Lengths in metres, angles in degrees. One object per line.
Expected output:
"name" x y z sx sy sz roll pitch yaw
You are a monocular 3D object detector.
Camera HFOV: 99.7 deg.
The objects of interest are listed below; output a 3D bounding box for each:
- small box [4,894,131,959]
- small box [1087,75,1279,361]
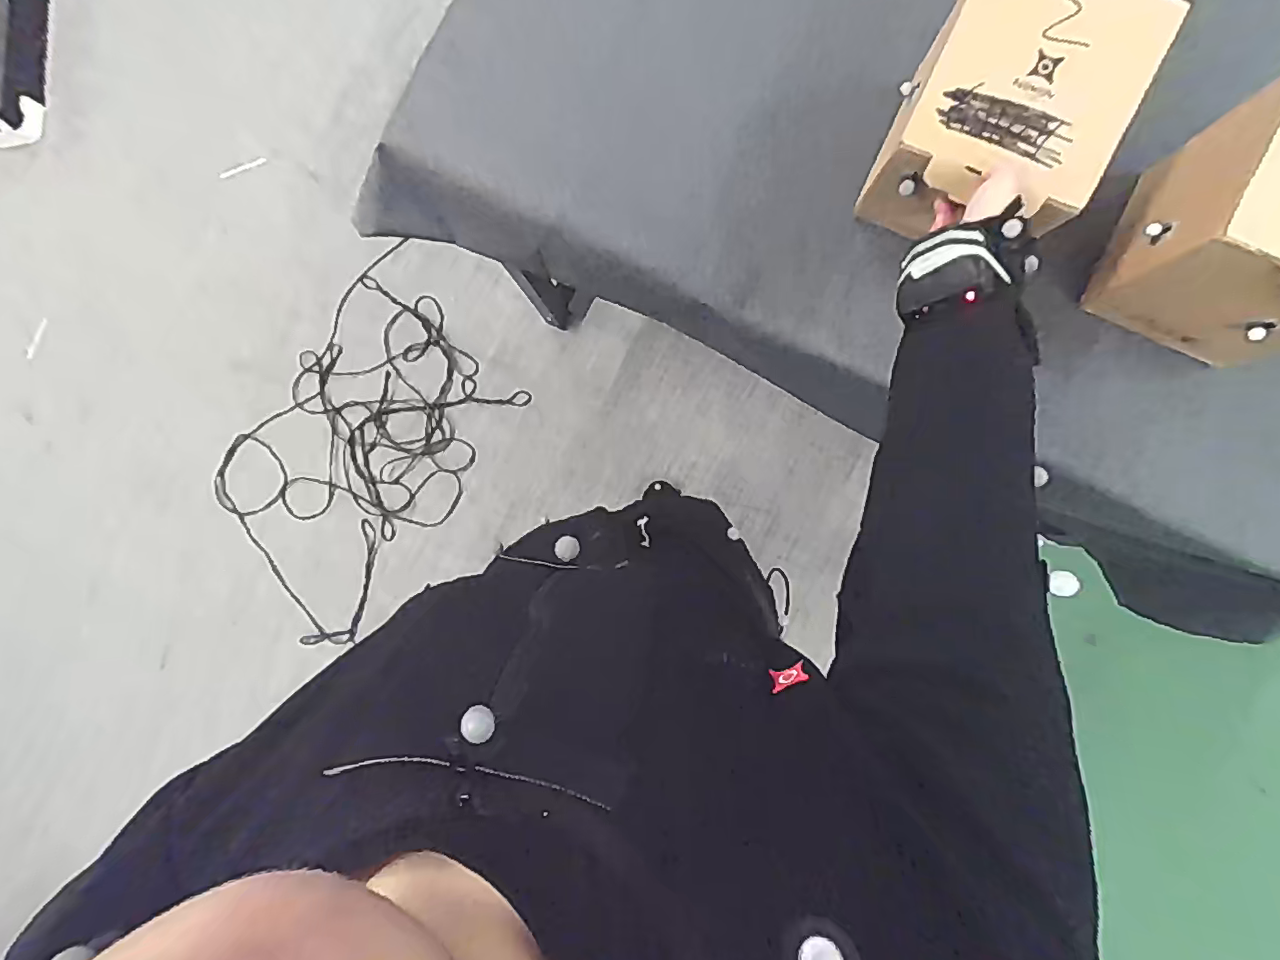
"small box" -1.452 1.205 1.350 0.179 0.176 0.168 -43 86 1
"small box" 0.595 -0.238 0.524 0.168 0.176 0.179 26 89 3
